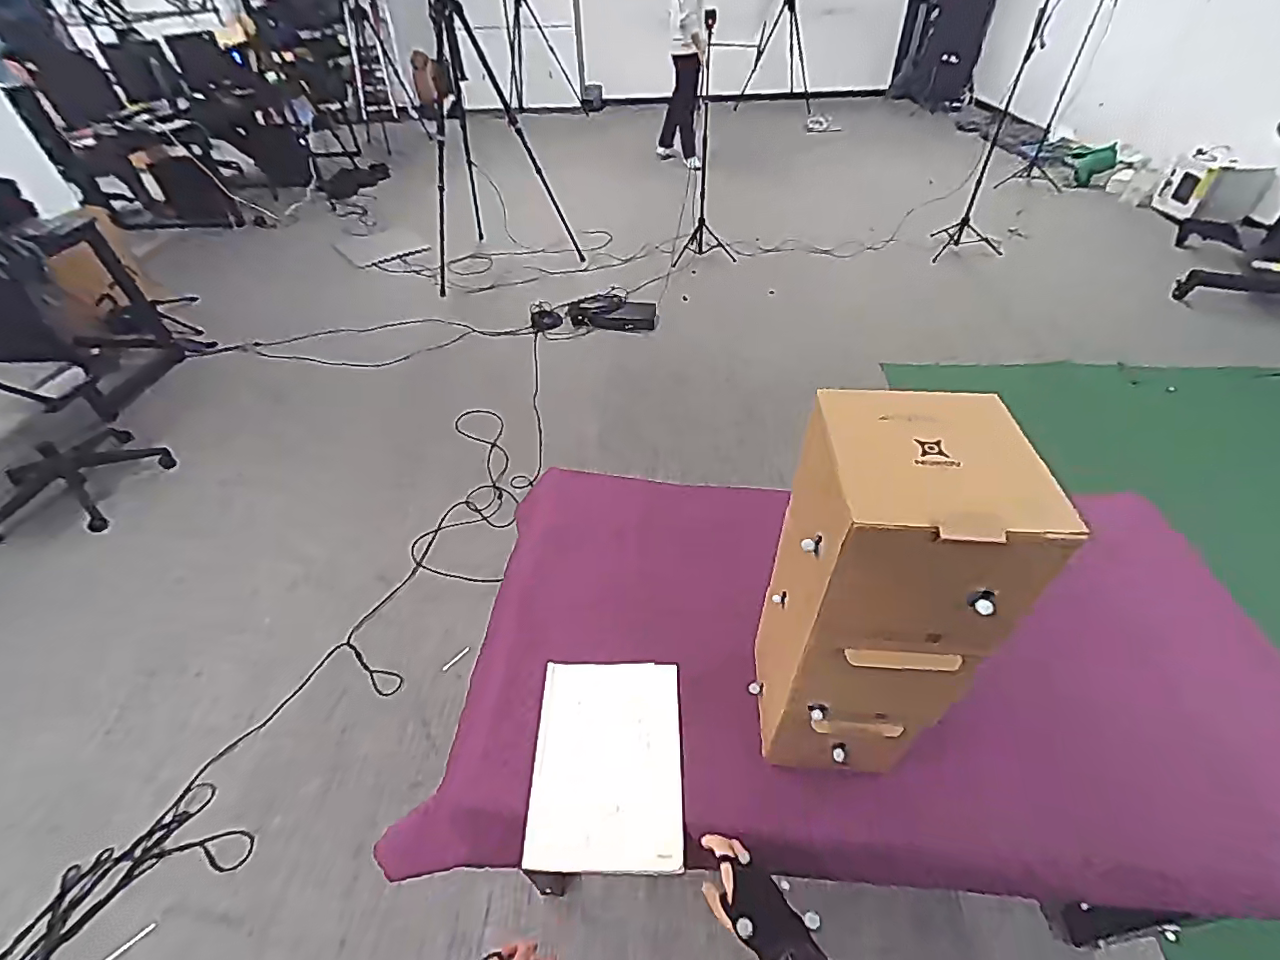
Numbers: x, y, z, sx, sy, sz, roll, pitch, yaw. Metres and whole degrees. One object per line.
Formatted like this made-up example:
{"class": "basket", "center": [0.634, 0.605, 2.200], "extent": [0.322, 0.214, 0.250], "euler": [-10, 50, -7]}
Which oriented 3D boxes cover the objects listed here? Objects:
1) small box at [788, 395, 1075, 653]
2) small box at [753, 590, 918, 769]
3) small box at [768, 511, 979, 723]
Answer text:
{"class": "small box", "center": [0.239, 0.041, 0.502], "extent": [0.168, 0.176, 0.179], "euler": [3, 43, 5]}
{"class": "small box", "center": [0.249, 0.272, 0.735], "extent": [0.168, 0.176, 0.179], "euler": [2, 44, 4]}
{"class": "small box", "center": [0.244, 0.156, 0.617], "extent": [0.168, 0.176, 0.179], "euler": [2, 42, 5]}
